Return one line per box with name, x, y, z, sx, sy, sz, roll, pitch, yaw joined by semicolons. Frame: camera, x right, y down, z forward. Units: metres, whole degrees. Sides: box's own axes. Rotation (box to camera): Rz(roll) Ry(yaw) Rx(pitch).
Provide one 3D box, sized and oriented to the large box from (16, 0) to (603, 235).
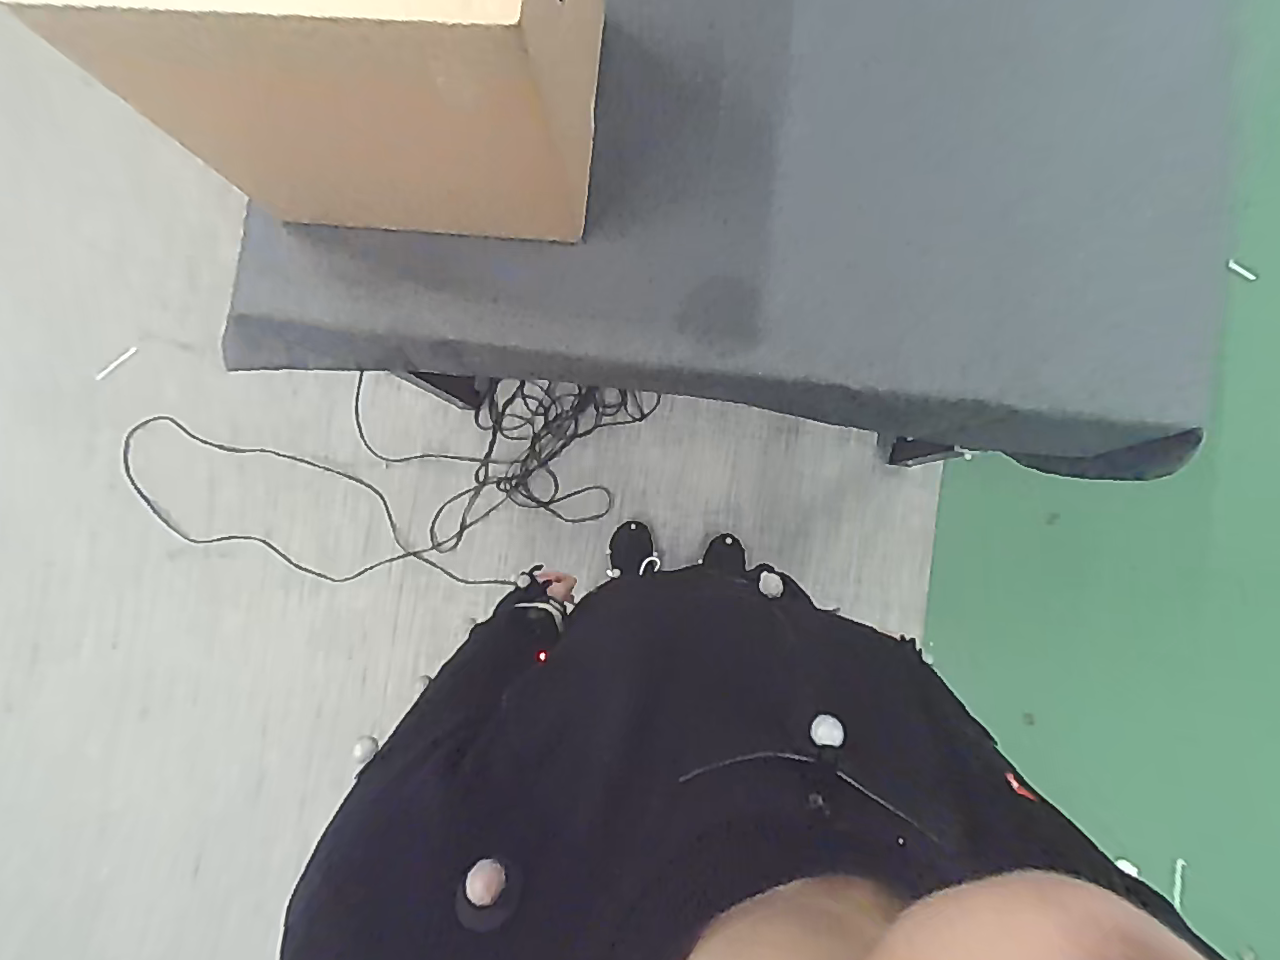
large box;-0.258;-0.481;0.554;0.408;0.320;0.320;4;87;1
